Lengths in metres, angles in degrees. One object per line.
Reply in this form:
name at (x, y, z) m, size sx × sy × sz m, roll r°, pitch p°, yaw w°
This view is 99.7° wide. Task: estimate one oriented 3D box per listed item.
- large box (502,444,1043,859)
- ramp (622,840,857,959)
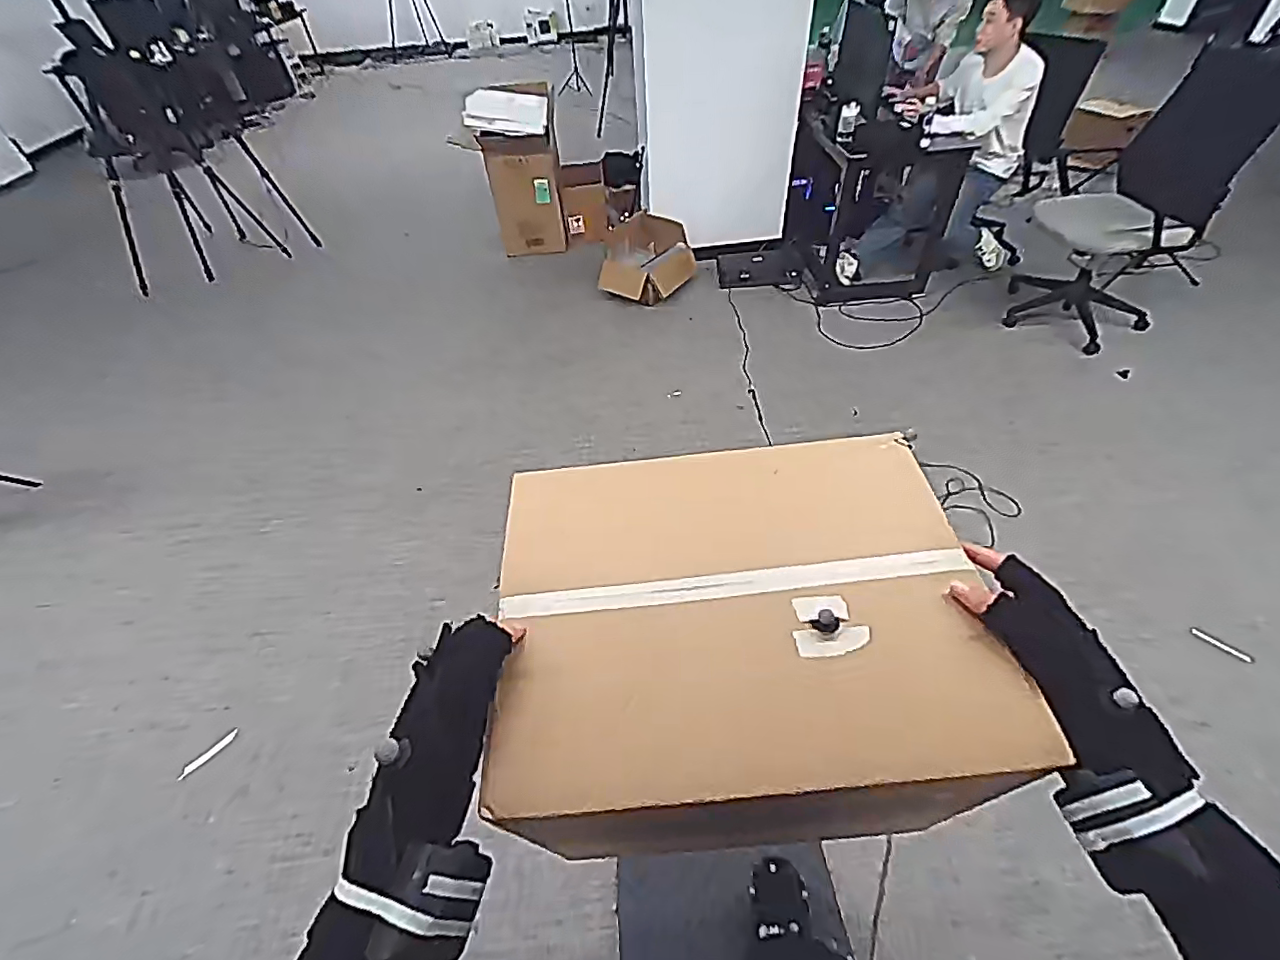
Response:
large box at (0.094, 0.195, 0.596) m, size 0.408 × 0.320 × 0.320 m, roll -6°, pitch 50°, yaw 1°
ramp at (0.230, 1.191, 0.904) m, size 0.509 × 0.206 × 0.991 m, roll -8°, pitch 46°, yaw -1°
